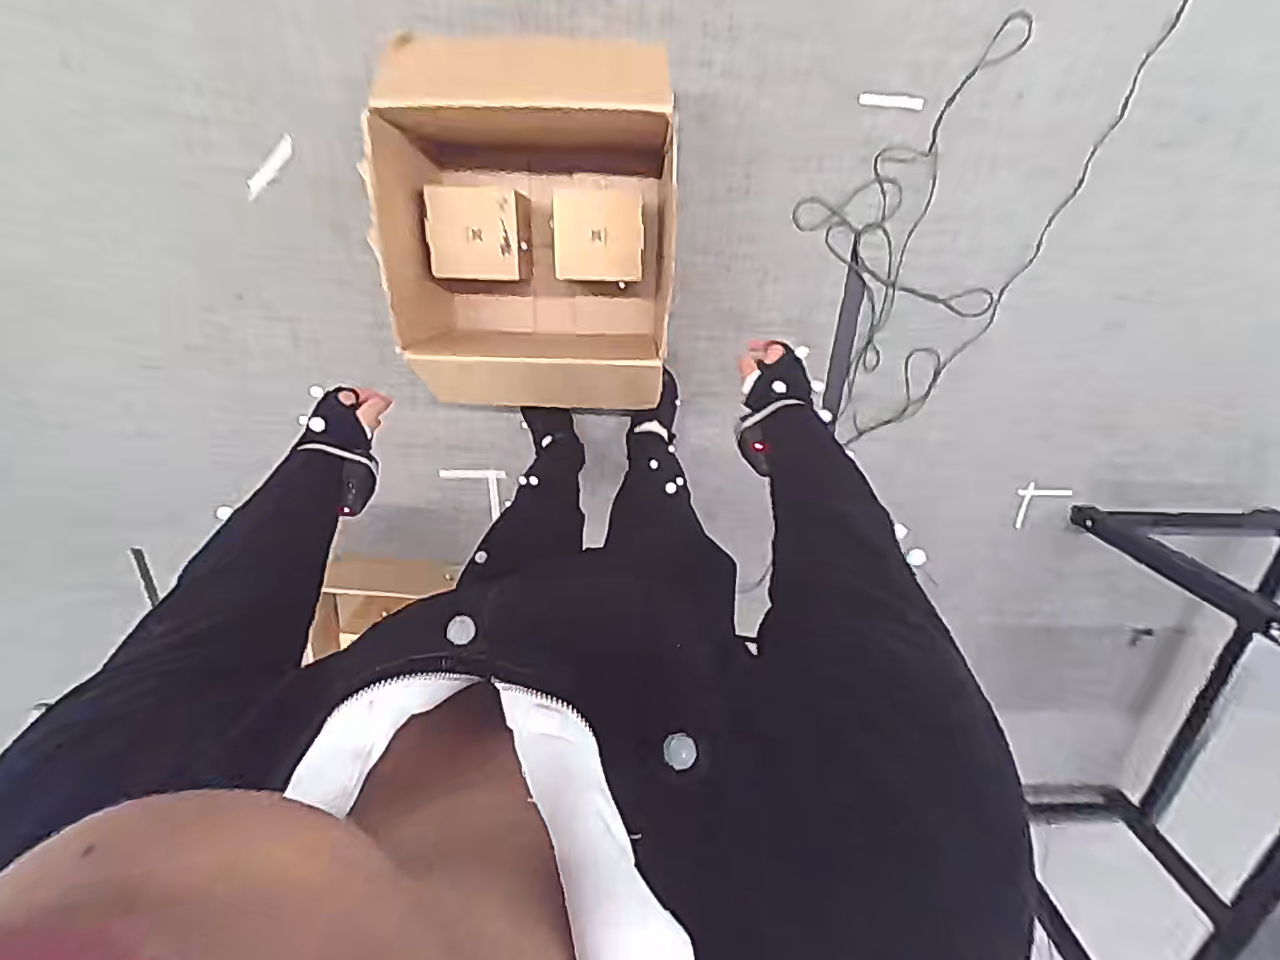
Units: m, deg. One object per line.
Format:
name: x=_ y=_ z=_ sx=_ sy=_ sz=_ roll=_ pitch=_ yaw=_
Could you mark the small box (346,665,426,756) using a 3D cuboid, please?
small box: x=-0.729 y=0.667 z=1.568 sx=0.168 sy=0.176 sz=0.179 roll=5 pitch=110 yaw=-6
